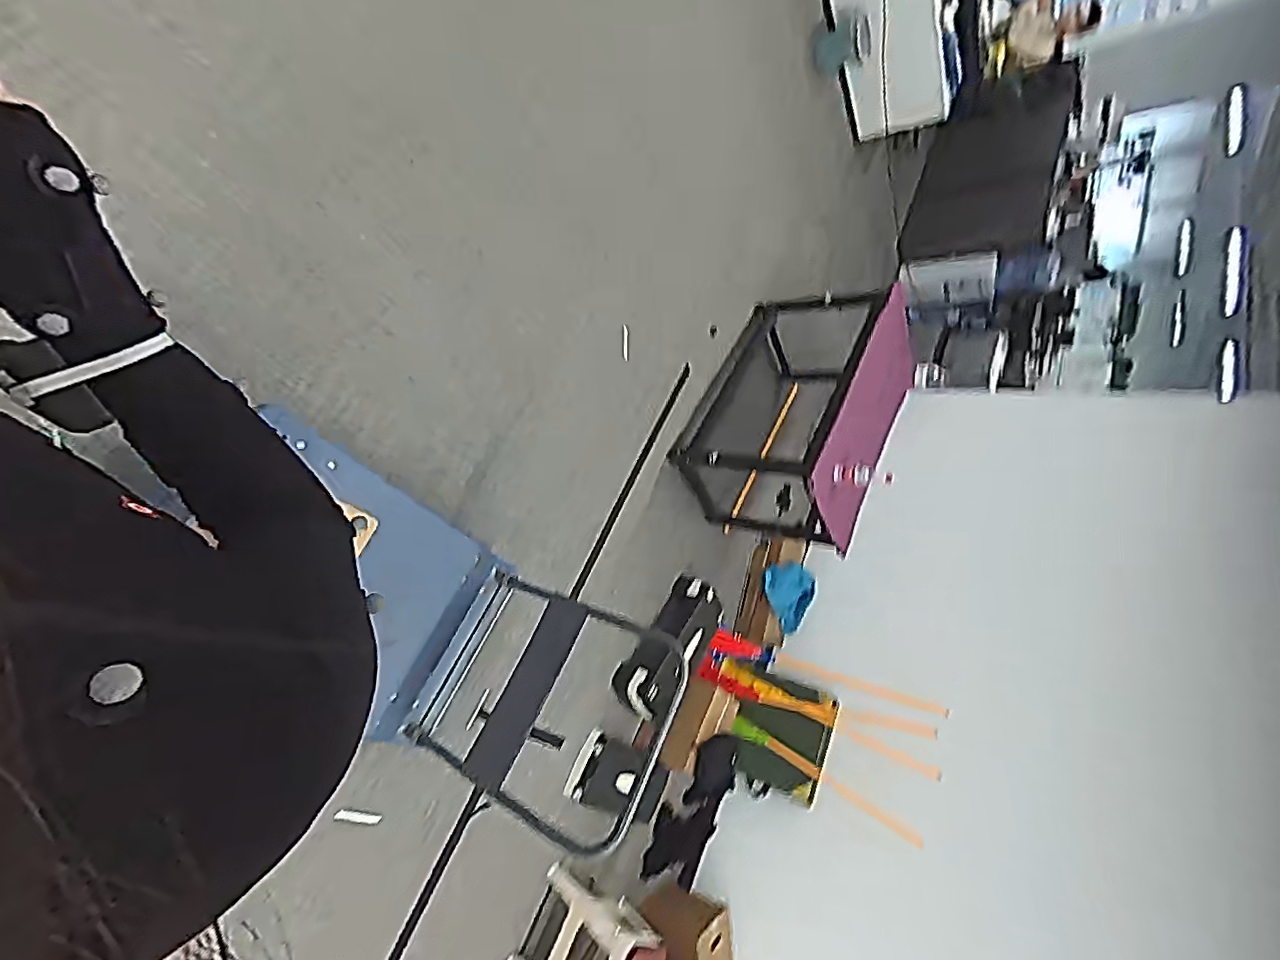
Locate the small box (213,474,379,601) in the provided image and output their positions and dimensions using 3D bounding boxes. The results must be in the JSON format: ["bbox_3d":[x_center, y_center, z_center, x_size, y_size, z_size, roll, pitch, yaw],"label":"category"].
[{"bbox_3d":[-0.636,0.100,0.999,0.179,0.176,0.168,45,63,-45],"label":"small box"}]

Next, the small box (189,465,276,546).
[{"bbox_3d":[-0.764,0.081,1.102,0.179,0.176,0.168,48,61,-45],"label":"small box"}]
